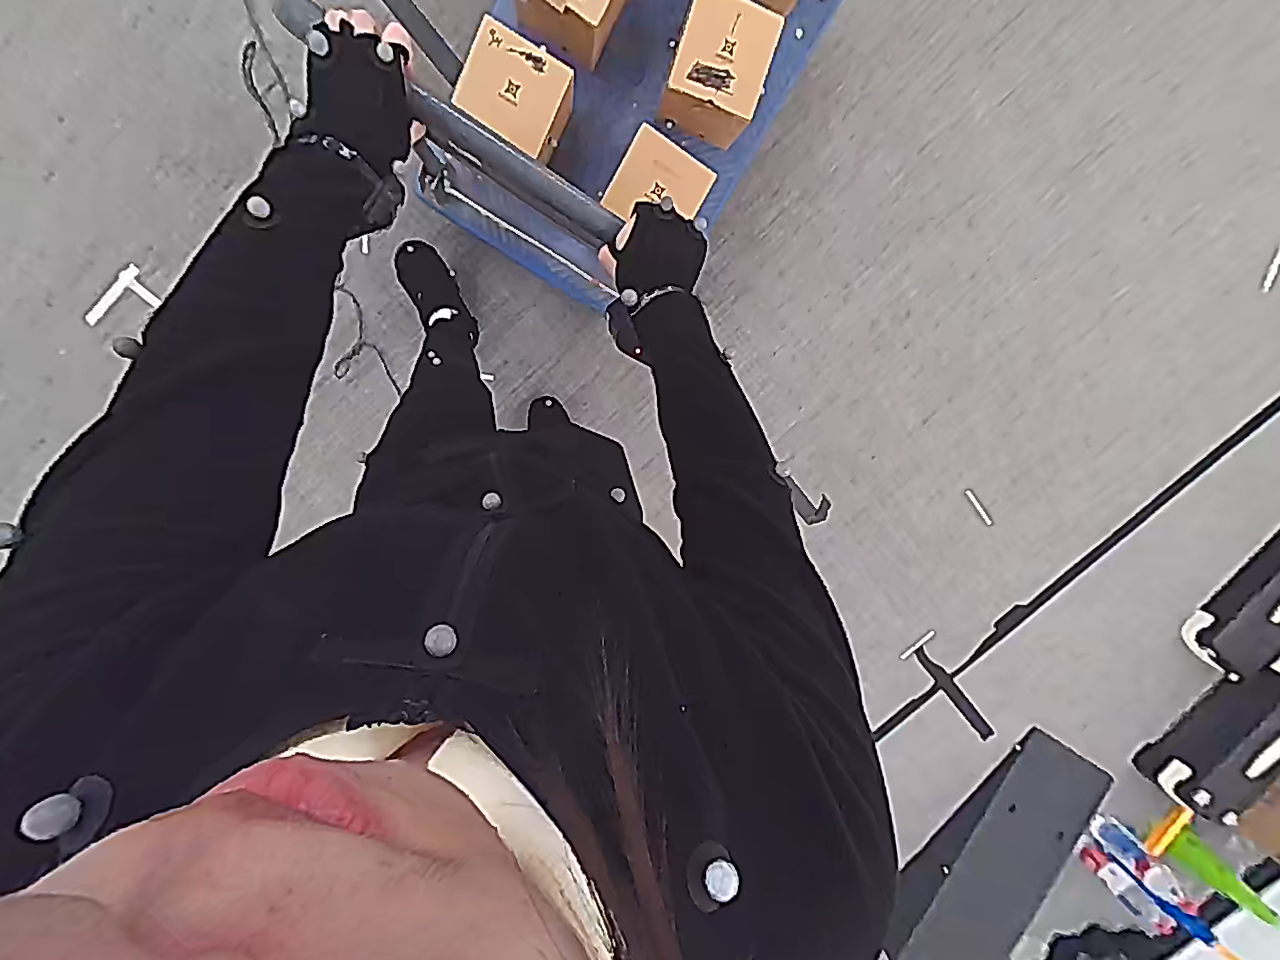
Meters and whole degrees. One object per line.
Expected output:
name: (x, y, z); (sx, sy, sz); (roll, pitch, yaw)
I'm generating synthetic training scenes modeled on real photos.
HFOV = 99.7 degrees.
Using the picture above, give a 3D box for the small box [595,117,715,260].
small box: (0.021, -0.565, 1.082); (0.168, 0.176, 0.179); (29, 99, -15)

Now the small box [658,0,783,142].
small box: (0.142, -0.788, 1.034); (0.168, 0.176, 0.179); (17, 102, -12)

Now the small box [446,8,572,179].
small box: (-0.235, -0.699, 1.007); (0.168, 0.176, 0.179); (25, 102, -15)
